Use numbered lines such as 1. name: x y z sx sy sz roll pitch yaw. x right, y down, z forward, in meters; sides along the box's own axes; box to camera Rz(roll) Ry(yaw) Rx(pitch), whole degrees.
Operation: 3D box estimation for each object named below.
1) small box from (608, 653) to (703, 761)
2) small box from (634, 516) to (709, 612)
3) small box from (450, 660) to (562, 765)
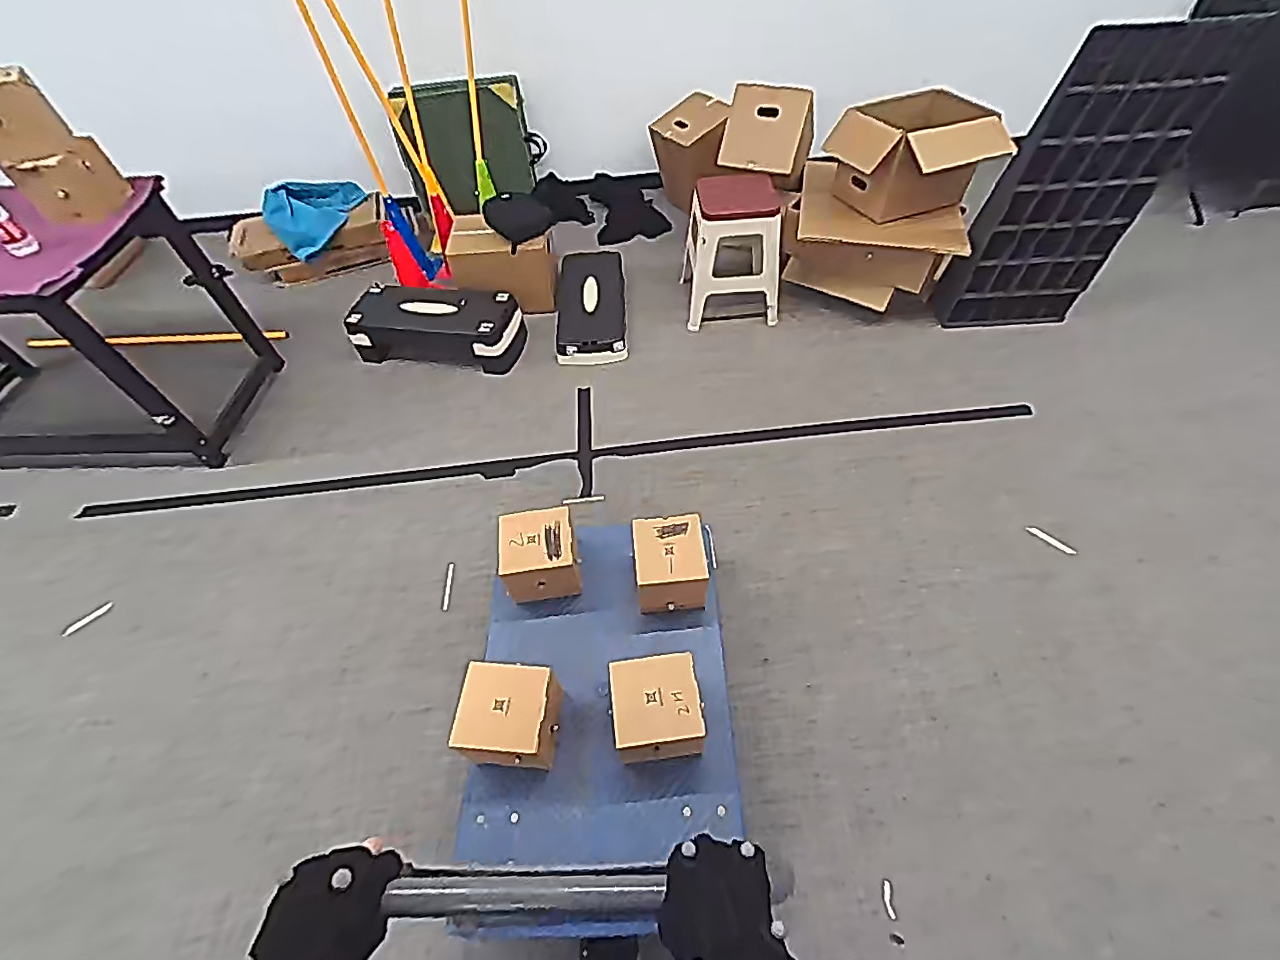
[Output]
1. small box: 0.032 0.482 1.141 0.179 0.176 0.168 -7 54 -2
2. small box: 0.073 0.210 1.339 0.168 0.176 0.179 -5 55 0
3. small box: -0.274 0.496 1.148 0.179 0.176 0.168 3 54 4
